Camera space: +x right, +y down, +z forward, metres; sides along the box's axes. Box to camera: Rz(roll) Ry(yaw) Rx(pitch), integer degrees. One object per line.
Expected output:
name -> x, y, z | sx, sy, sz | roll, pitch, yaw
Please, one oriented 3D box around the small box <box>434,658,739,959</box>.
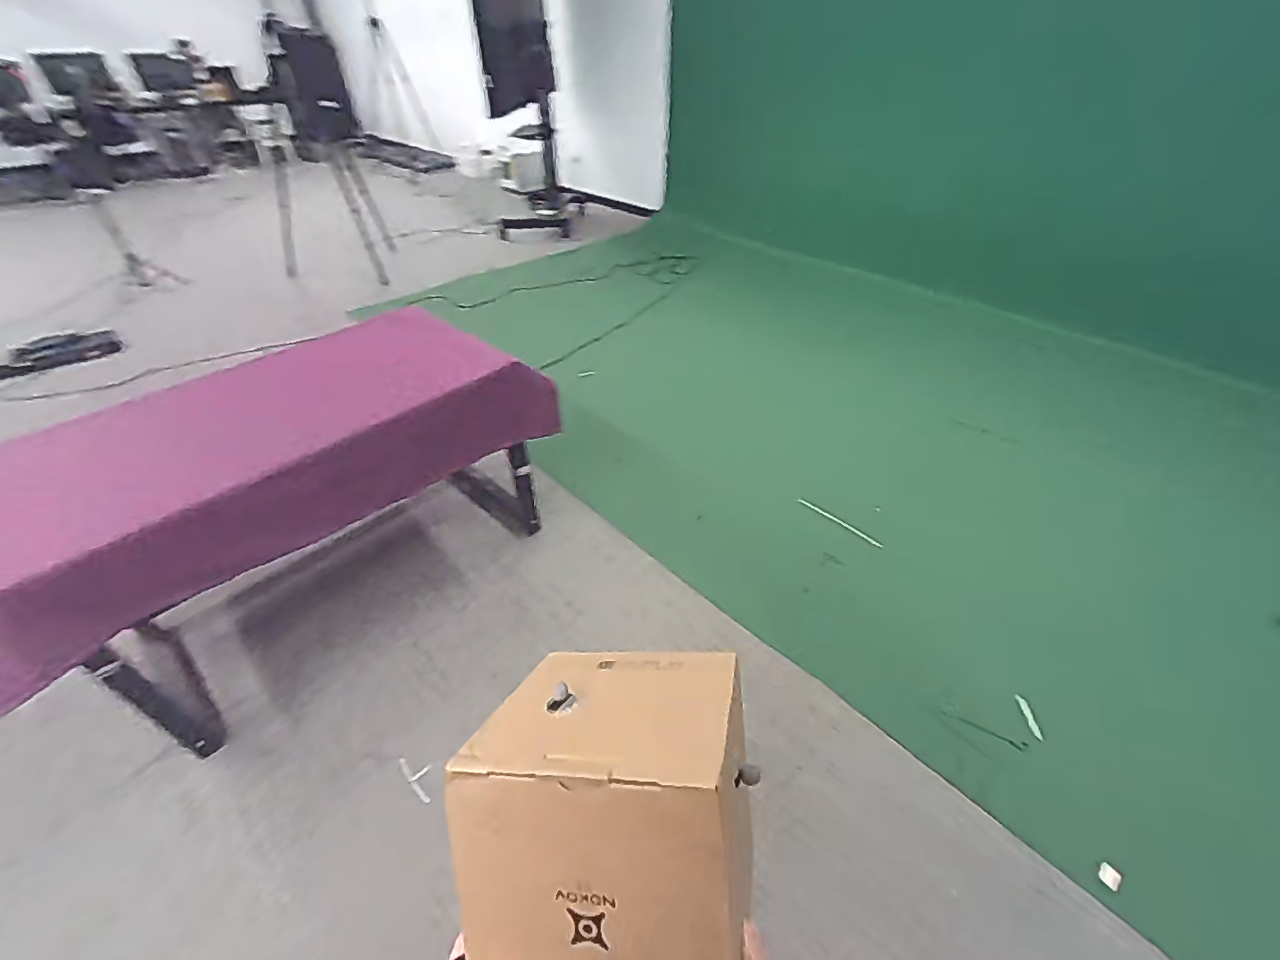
small box -> -0.019, 0.242, 0.389 | 0.168, 0.179, 0.176 | -4, 6, 14
